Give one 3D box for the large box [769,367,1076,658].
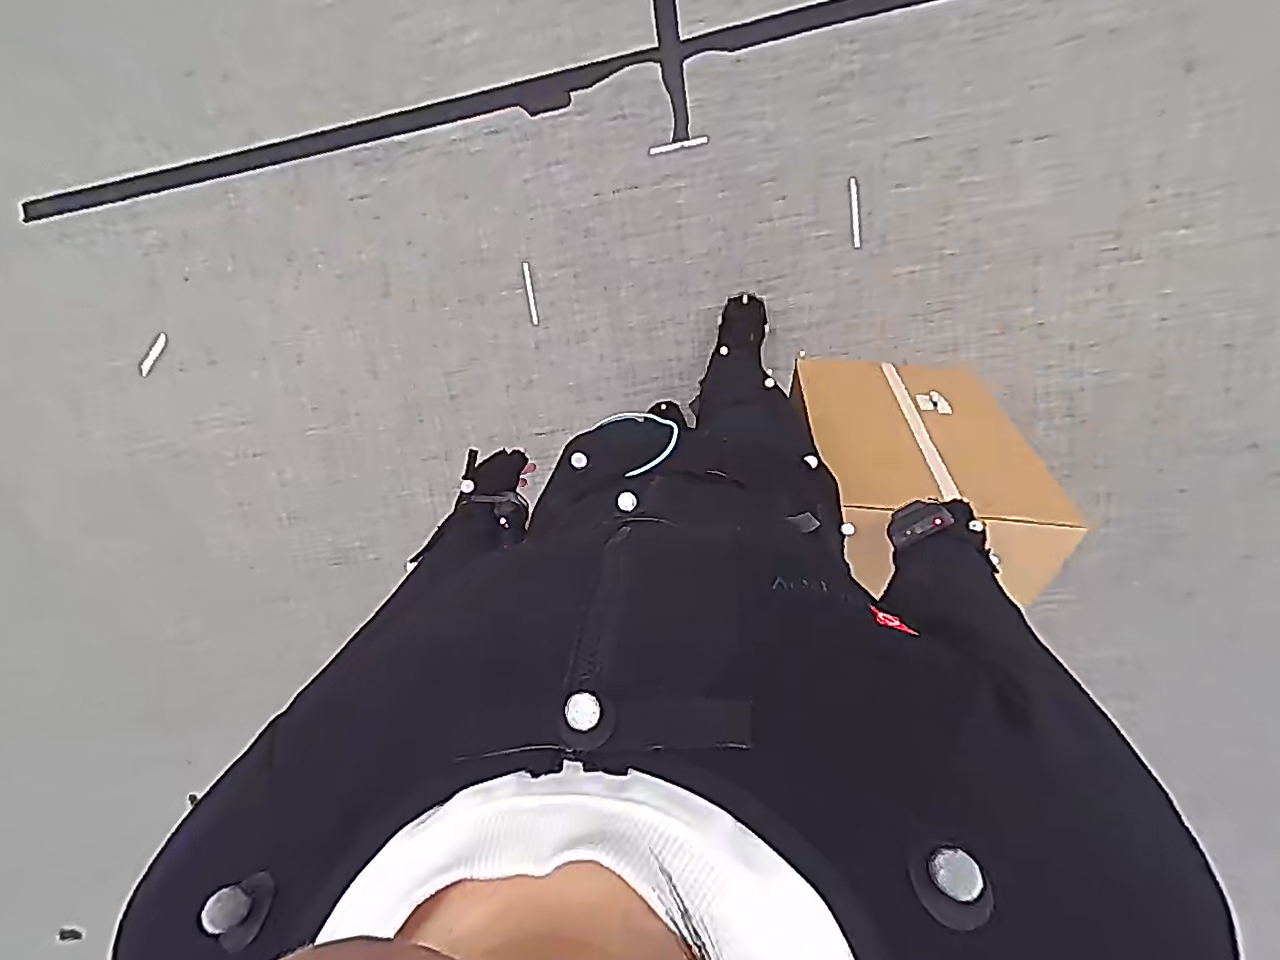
[{"bbox_3d":[0.413,0.041,0.929,0.320,0.408,0.320,6,128,3],"label":"large box"}]
